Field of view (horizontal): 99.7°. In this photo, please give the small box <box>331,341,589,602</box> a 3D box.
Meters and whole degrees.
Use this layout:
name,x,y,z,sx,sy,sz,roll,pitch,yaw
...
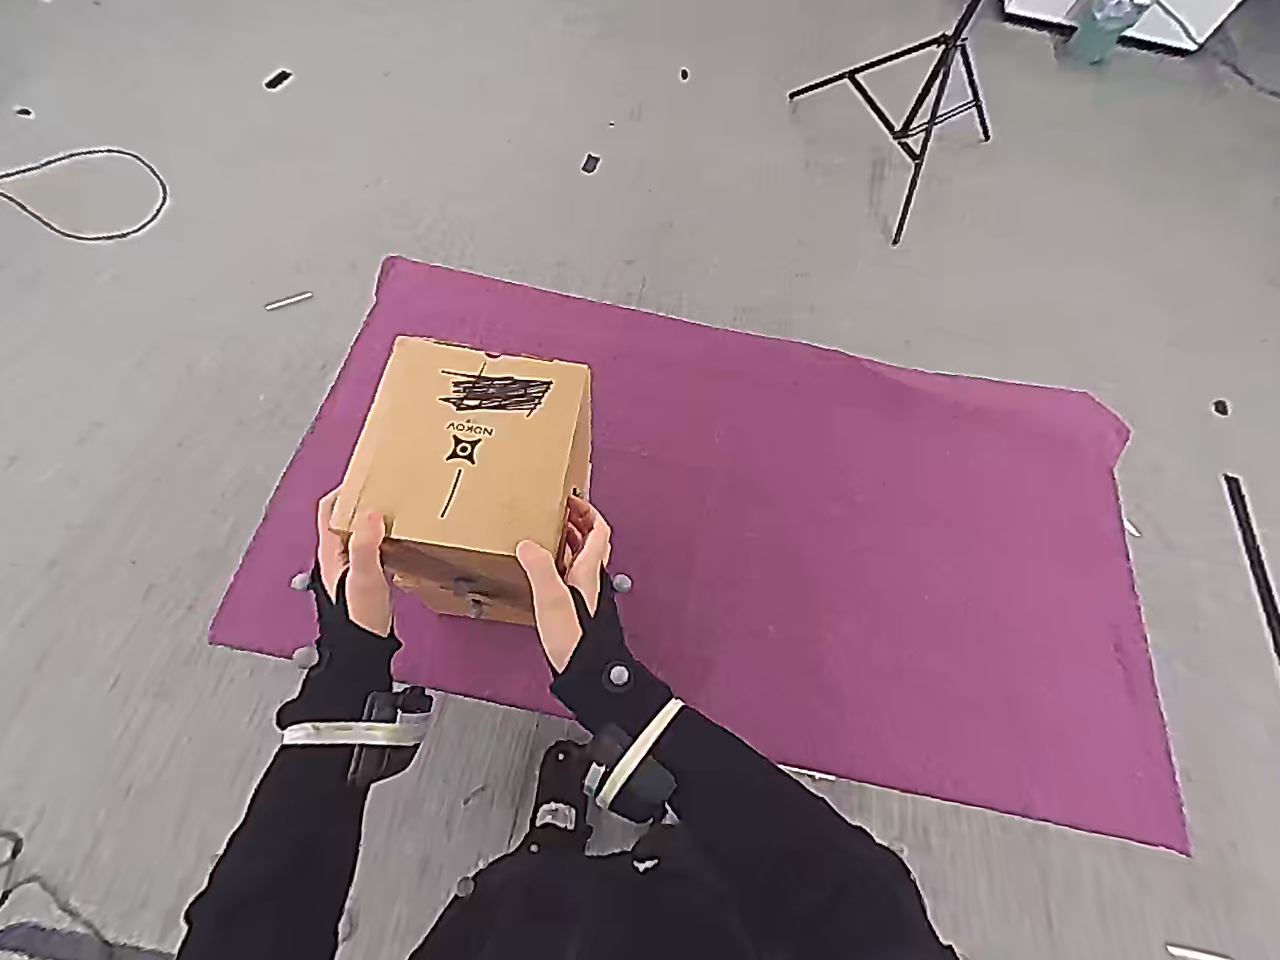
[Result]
name,x,y,z,sx,sy,sz,roll,pitch,yaw
small box,-0.143,0.002,0.503,0.168,0.176,0.179,8,67,-1

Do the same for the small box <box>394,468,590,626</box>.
name,x,y,z,sx,sy,sz,roll,pitch,yaw
small box,-0.159,0.075,0.650,0.179,0.176,0.168,9,67,-1
